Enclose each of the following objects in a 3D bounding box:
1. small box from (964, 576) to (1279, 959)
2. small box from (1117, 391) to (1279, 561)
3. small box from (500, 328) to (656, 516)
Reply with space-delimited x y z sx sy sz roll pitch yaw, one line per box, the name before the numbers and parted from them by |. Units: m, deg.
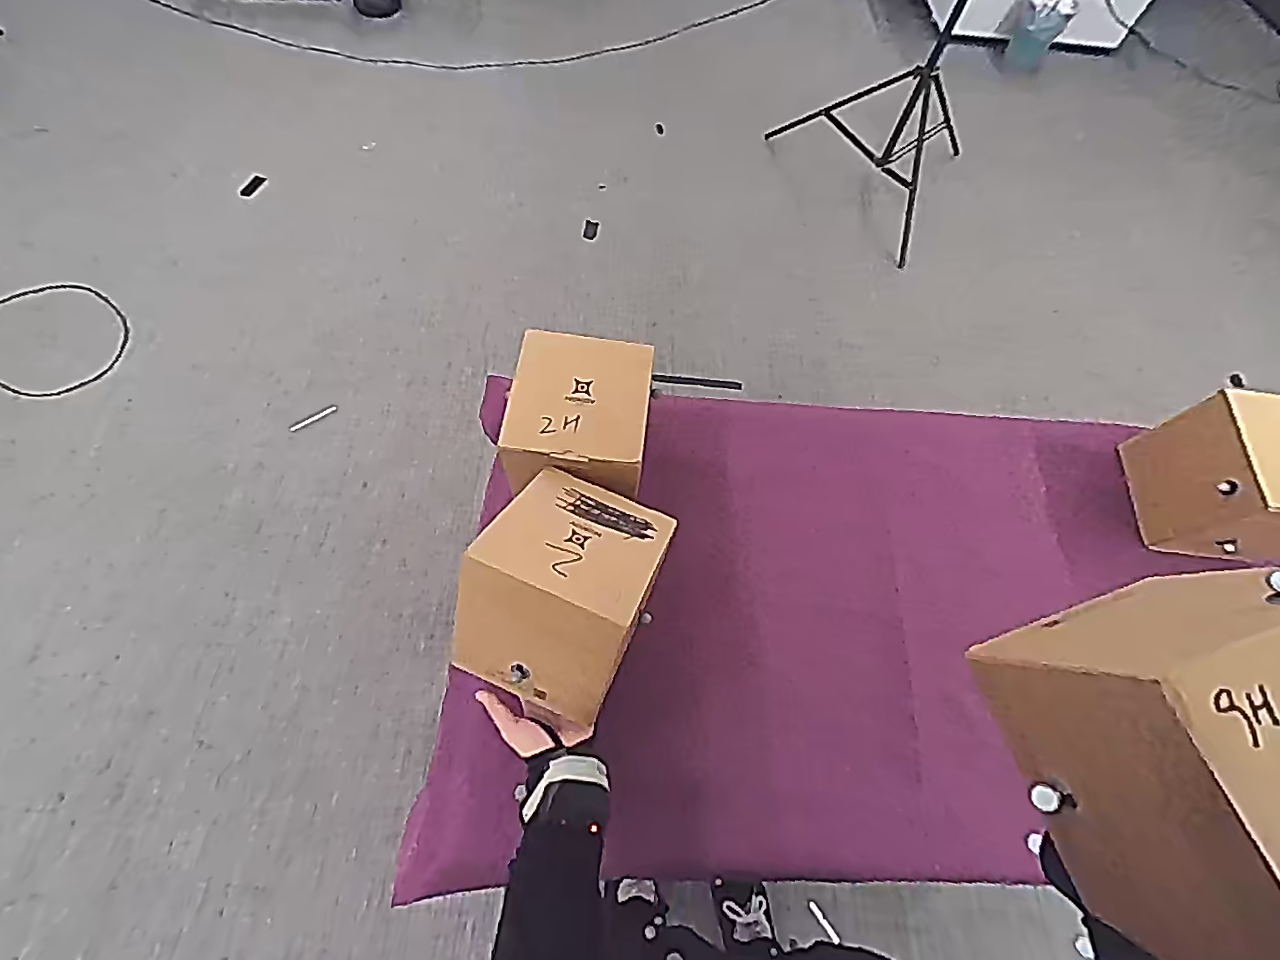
small box | 0.335 0.158 0.308 0.168 0.176 0.179 -19 77 -3
small box | 0.836 0.001 0.767 0.168 0.176 0.179 7 67 -1
small box | -0.077 -0.070 0.721 0.168 0.176 0.179 7 65 -1
